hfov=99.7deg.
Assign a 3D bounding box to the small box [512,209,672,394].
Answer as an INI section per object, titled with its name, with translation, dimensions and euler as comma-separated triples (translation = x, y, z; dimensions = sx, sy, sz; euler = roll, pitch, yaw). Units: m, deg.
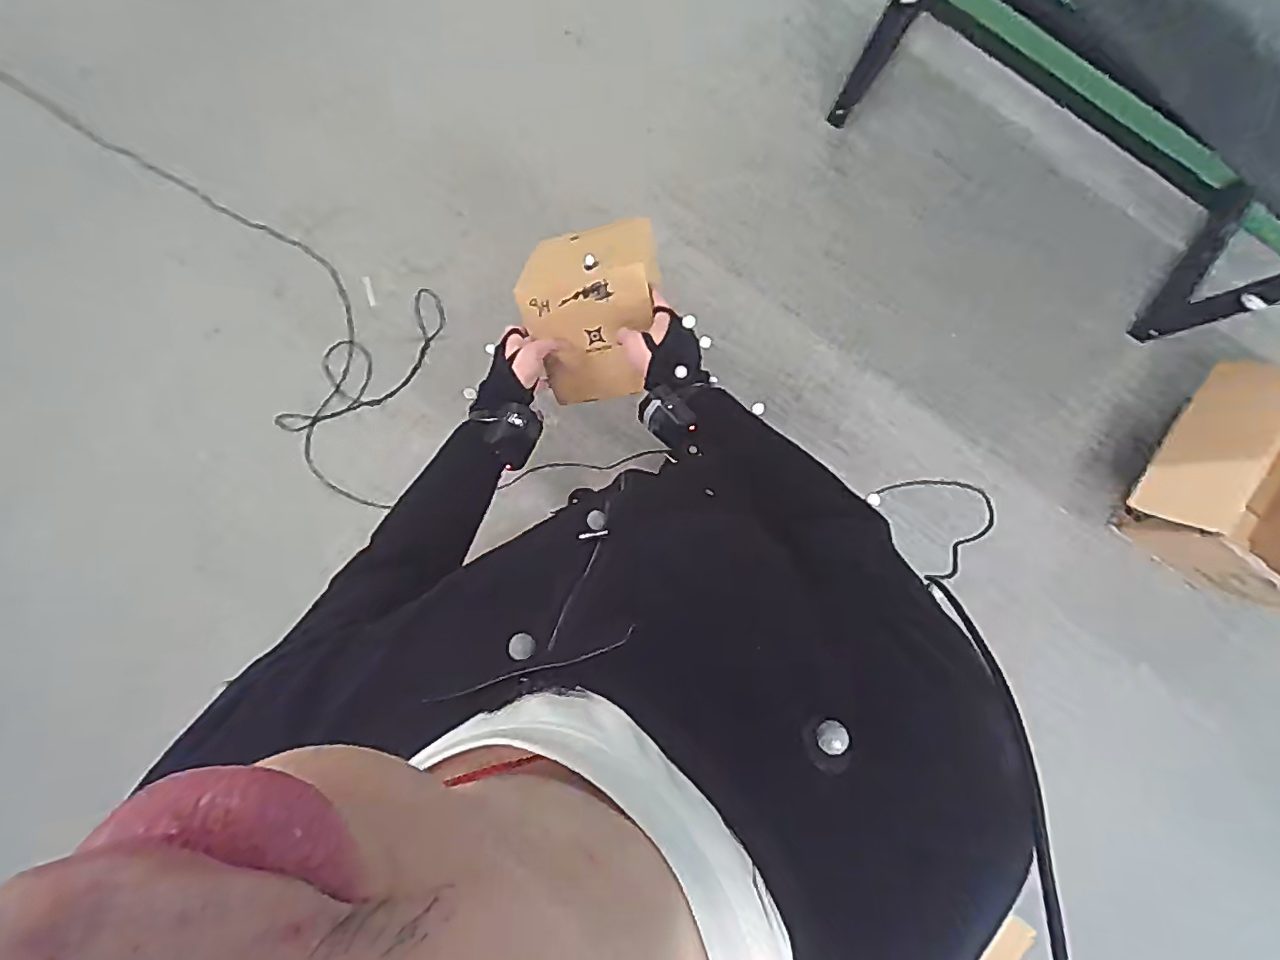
[small box]
translation = -0.053, -0.251, 0.764
dimensions = 0.168, 0.176, 0.179
euler = -9, 132, 14
